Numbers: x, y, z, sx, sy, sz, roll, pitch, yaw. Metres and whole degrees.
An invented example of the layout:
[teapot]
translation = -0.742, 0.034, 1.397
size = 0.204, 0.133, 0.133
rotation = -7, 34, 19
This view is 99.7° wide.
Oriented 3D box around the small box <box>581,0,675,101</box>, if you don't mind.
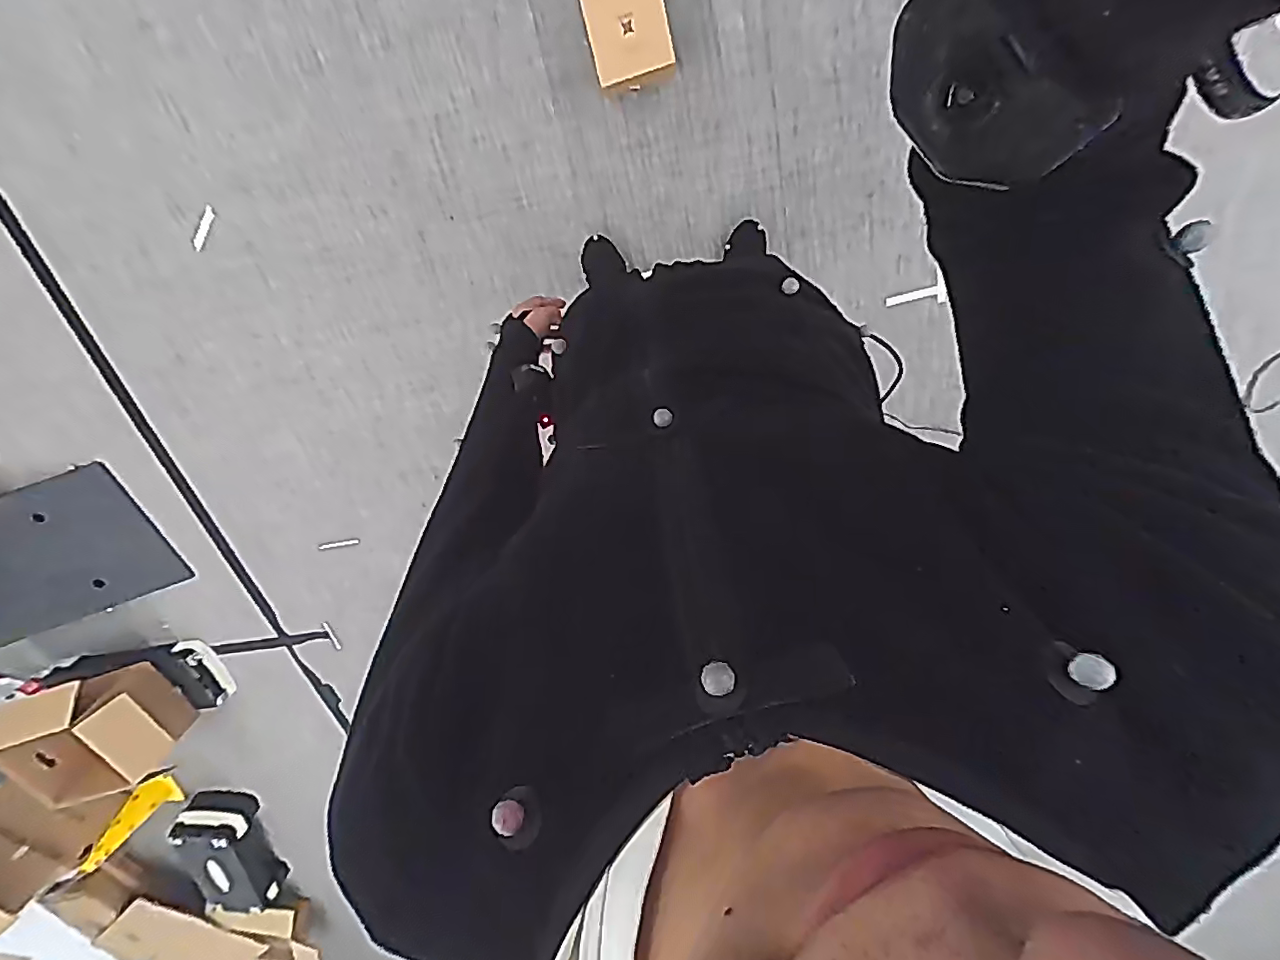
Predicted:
[small box]
translation = -0.023, -0.961, 1.175
size = 0.168, 0.176, 0.179
rotation = -12, 116, 9
